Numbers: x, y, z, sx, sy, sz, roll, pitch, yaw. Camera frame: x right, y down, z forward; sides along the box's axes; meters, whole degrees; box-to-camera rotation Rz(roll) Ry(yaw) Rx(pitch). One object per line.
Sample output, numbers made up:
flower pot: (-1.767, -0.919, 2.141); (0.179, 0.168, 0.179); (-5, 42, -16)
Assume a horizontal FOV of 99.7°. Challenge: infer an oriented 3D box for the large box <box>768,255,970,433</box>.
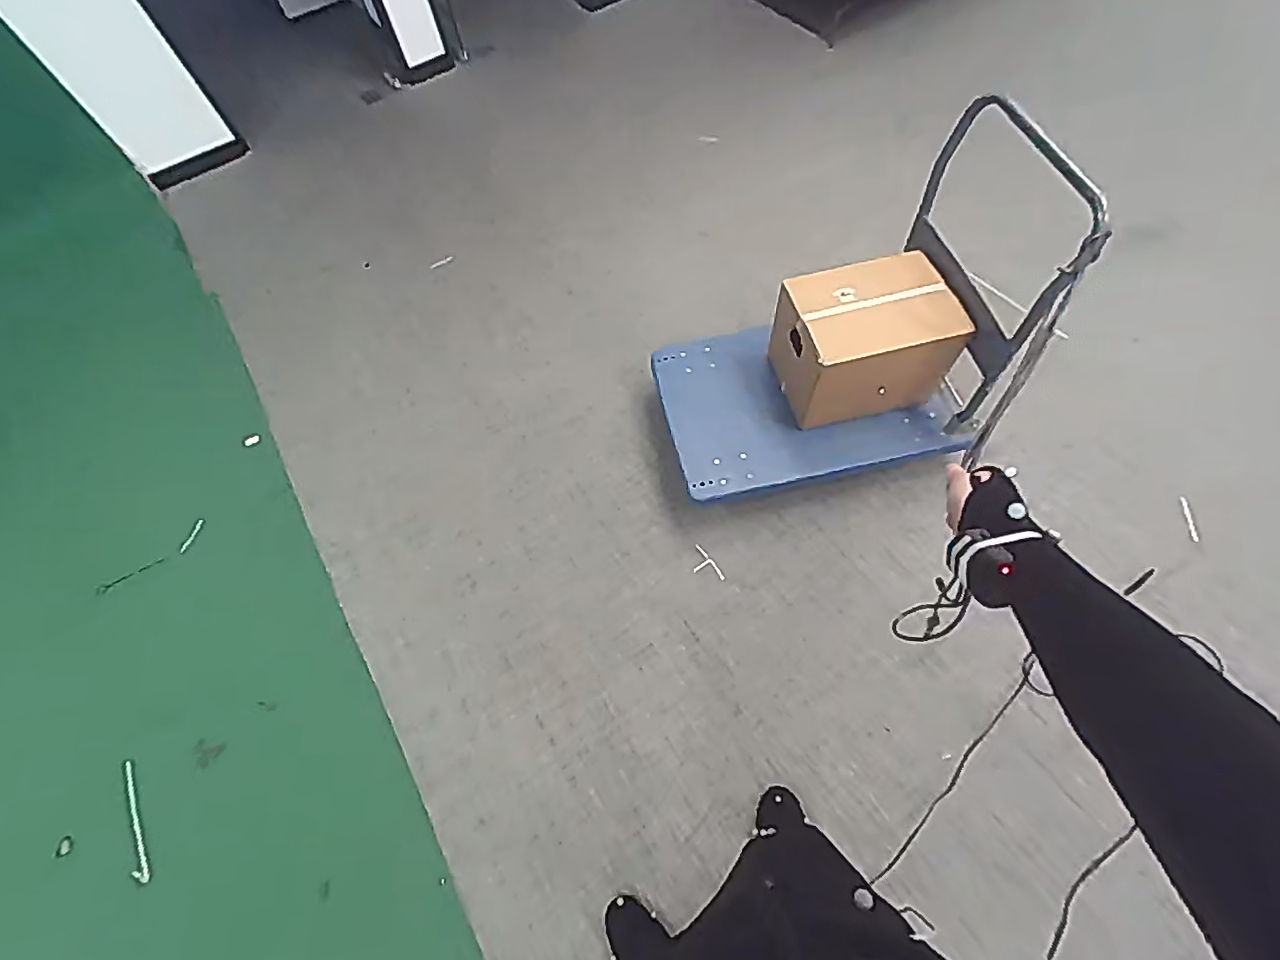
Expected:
large box: (0.623, -0.379, 1.552); (0.408, 0.320, 0.320); (-14, 61, -1)
